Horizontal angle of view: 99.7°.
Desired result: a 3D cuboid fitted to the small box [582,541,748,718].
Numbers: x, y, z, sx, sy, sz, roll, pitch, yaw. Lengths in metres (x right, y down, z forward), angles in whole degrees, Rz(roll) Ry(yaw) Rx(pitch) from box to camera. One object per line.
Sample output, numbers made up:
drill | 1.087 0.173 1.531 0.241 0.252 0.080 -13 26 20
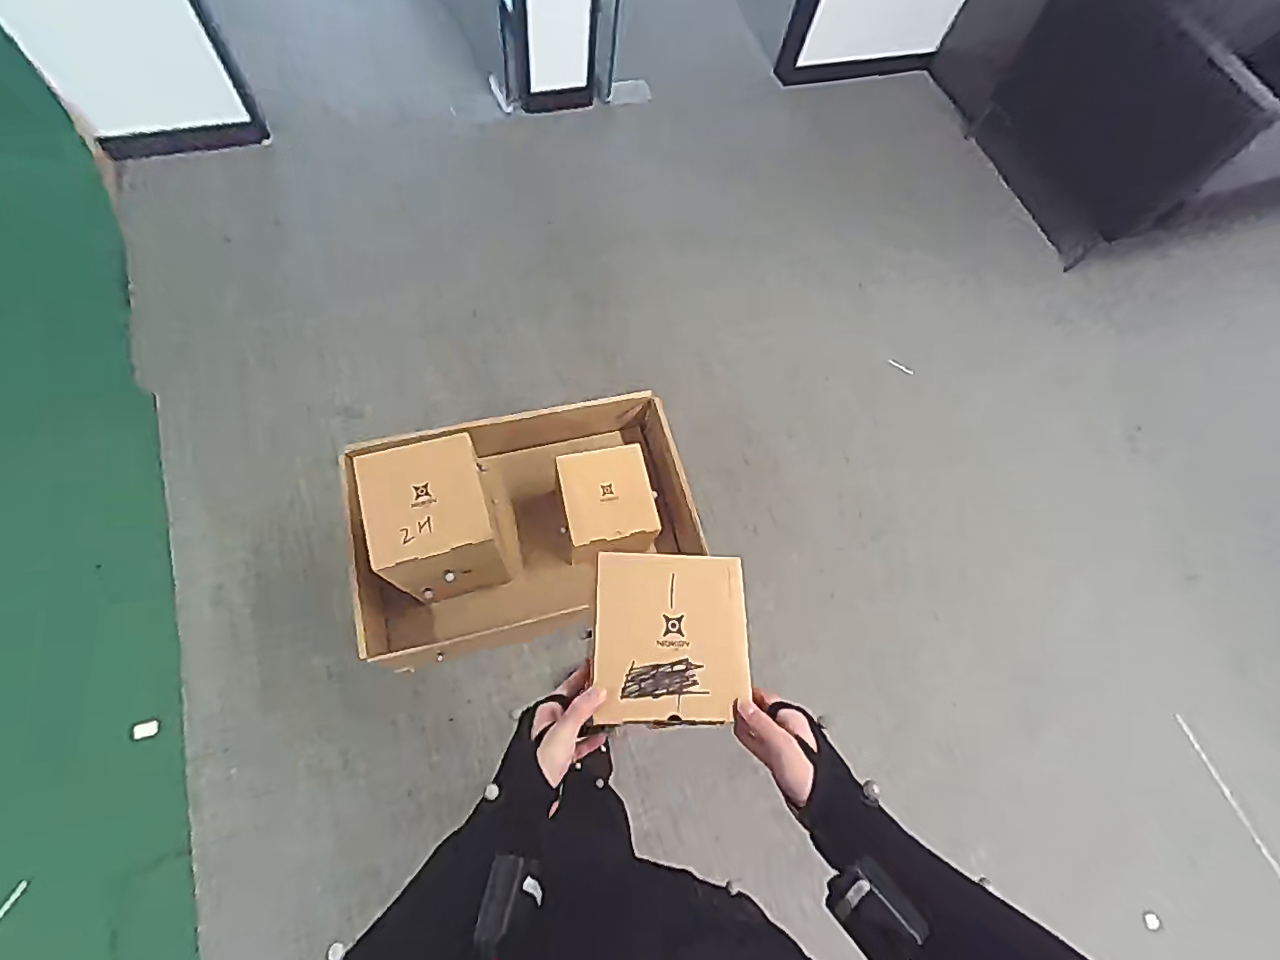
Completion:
small box | 0.021 0.185 0.642 0.168 0.176 0.179 5 64 -7

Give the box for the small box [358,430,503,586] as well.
small box | -0.318 0.049 0.844 0.168 0.176 0.179 -14 71 -13

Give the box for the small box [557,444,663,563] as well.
small box | -0.068 0.050 1.063 0.168 0.176 0.179 -10 71 -13
